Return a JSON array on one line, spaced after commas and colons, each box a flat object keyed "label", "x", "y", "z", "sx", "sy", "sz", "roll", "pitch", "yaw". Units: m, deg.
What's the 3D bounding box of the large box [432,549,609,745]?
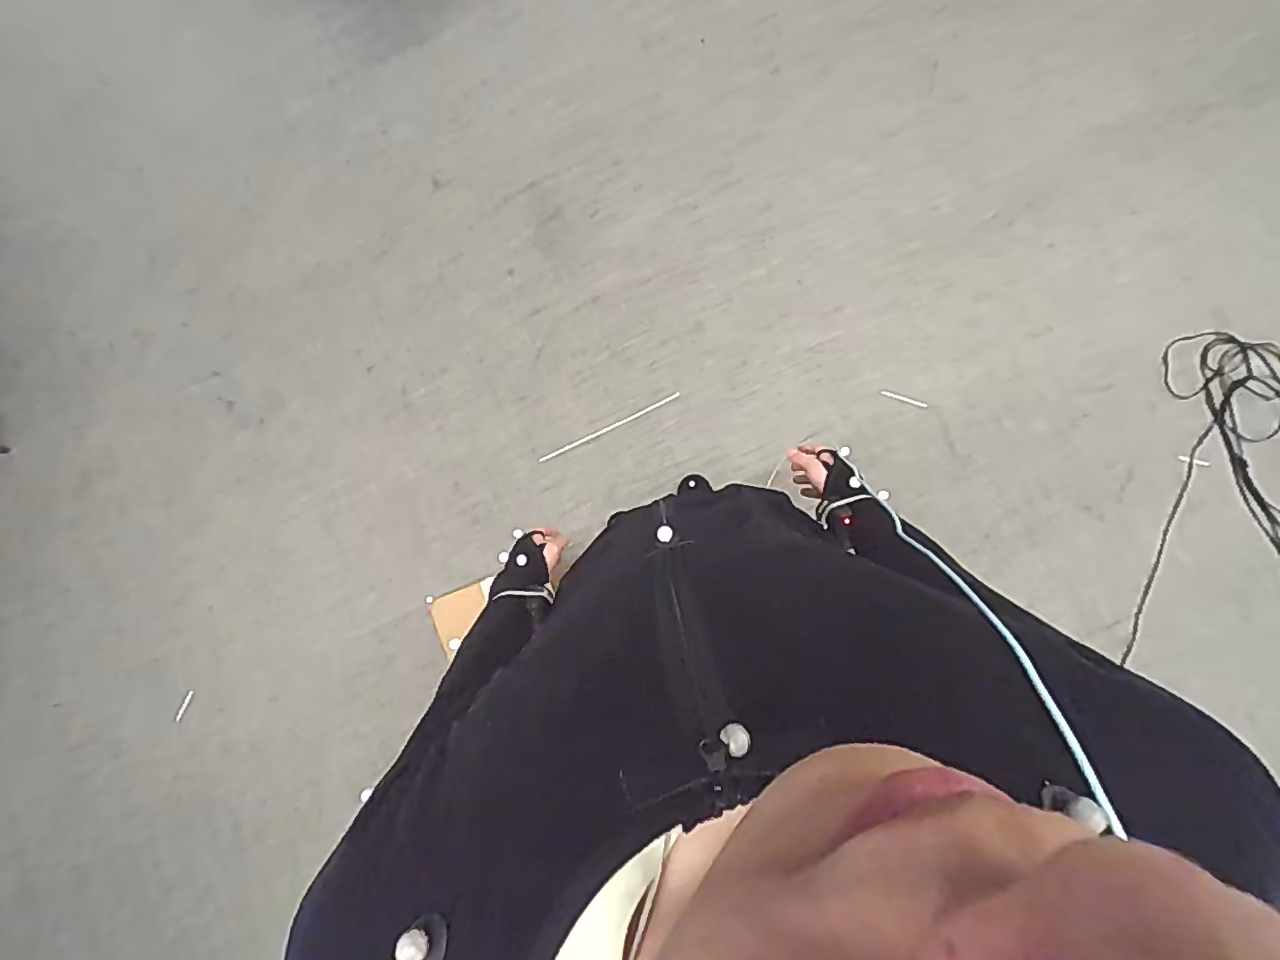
[{"label": "large box", "x": -0.312, "y": 0.440, "z": 1.514, "sx": 0.320, "sy": 0.320, "sz": 0.408, "roll": -22, "pitch": 86, "yaw": 0}]
